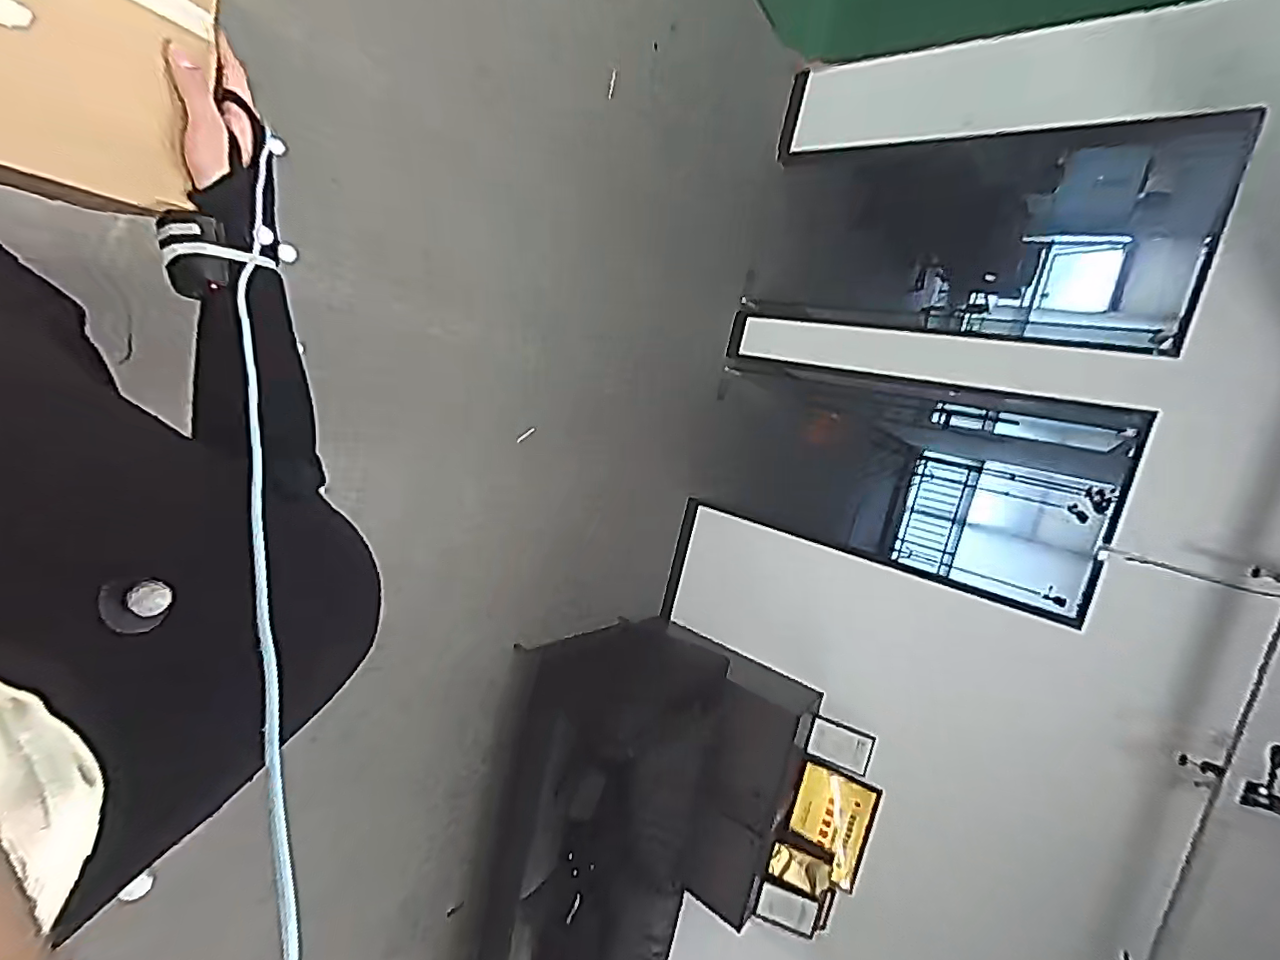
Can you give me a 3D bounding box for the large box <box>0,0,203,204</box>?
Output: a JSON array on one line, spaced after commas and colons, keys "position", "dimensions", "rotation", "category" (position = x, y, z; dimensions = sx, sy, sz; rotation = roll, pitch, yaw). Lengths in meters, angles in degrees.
[{"position": [-0.605, -0.424, 0.374], "dimensions": [0.408, 0.320, 0.320], "rotation": [-4, 111, -57], "category": "large box"}]
